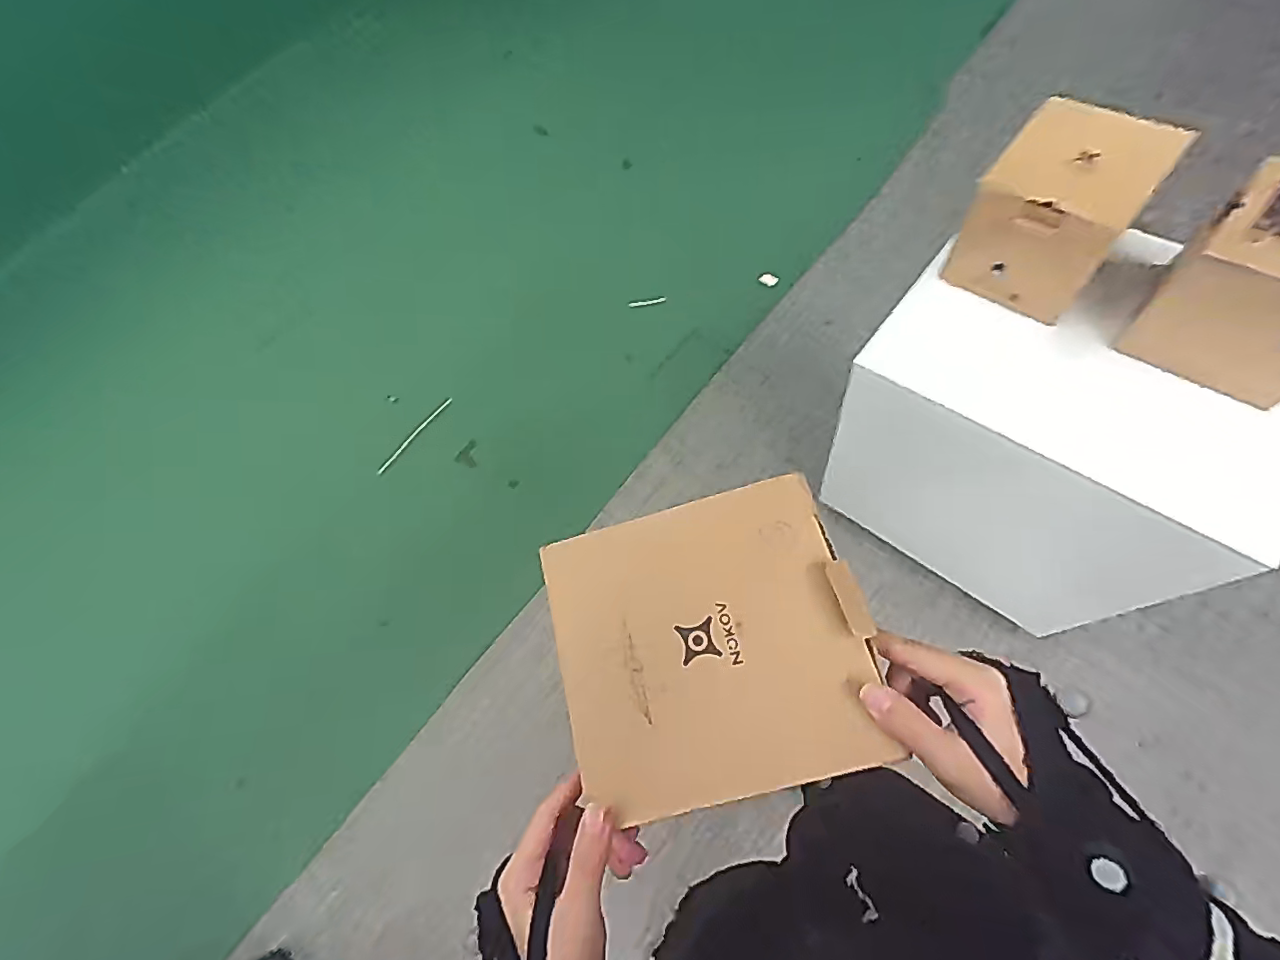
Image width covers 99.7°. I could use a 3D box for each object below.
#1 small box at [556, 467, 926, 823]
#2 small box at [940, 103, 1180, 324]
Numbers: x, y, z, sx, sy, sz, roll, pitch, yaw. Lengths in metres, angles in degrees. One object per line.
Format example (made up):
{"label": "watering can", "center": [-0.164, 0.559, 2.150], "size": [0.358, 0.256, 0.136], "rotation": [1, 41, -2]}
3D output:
{"label": "small box", "center": [0.060, 0.115, 0.383], "size": [0.179, 0.176, 0.168], "rotation": [-17, 66, 5]}
{"label": "small box", "center": [0.541, -0.349, 0.727], "size": [0.168, 0.176, 0.179], "rotation": [36, 79, 23]}
